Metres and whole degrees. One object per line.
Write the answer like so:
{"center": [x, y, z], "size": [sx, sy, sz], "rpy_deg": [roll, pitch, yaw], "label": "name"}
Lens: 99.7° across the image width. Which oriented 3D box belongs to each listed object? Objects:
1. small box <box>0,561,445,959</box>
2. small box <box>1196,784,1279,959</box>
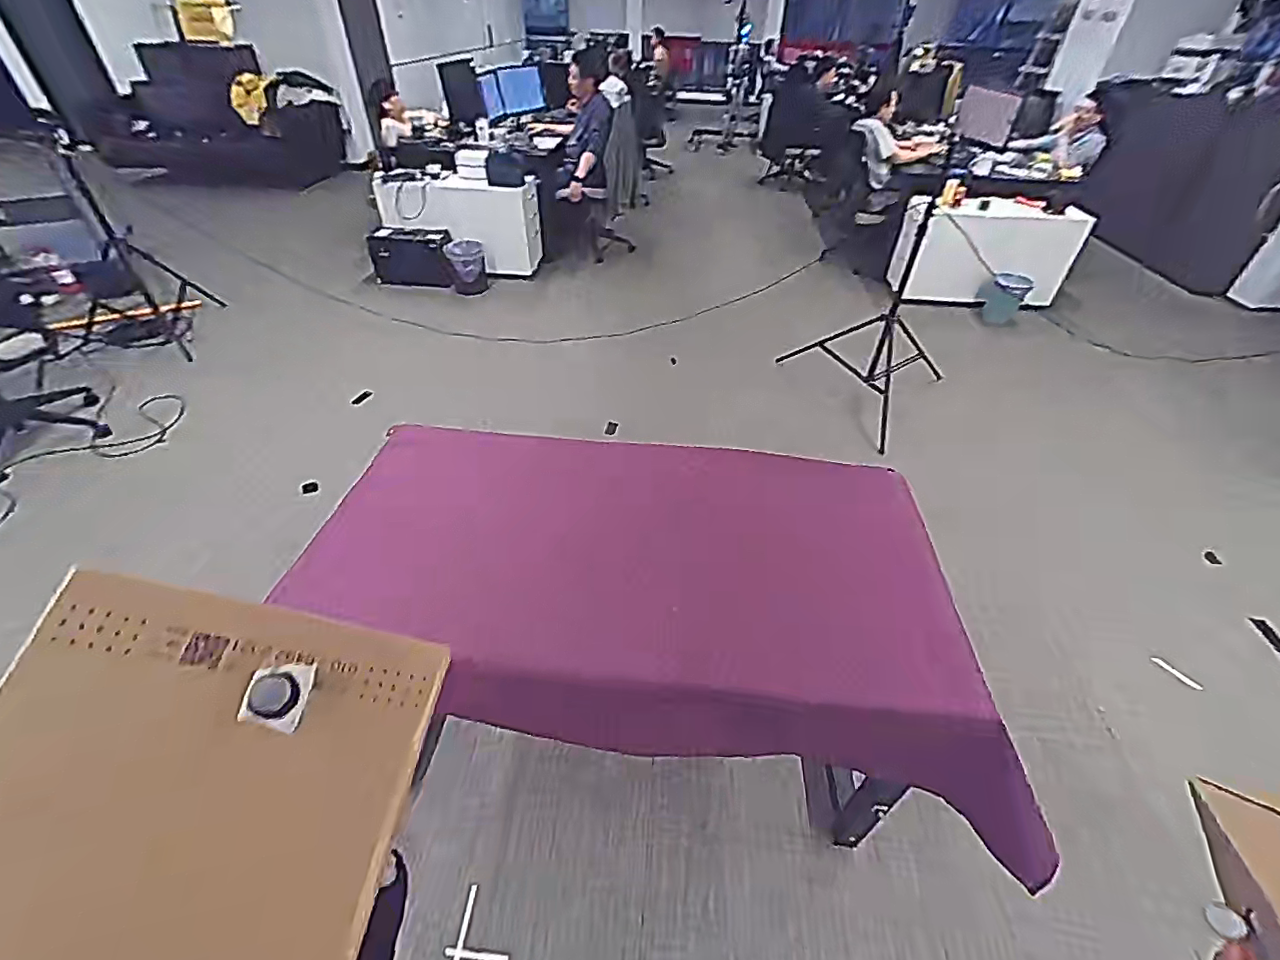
{"center": [-0.219, 0.158, 0.302], "size": [0.168, 0.179, 0.176], "rpy_deg": [17, 63, -18], "label": "small box"}
{"center": [0.364, 0.232, 0.207], "size": [0.168, 0.176, 0.179], "rpy_deg": [-17, -12, 34], "label": "small box"}
